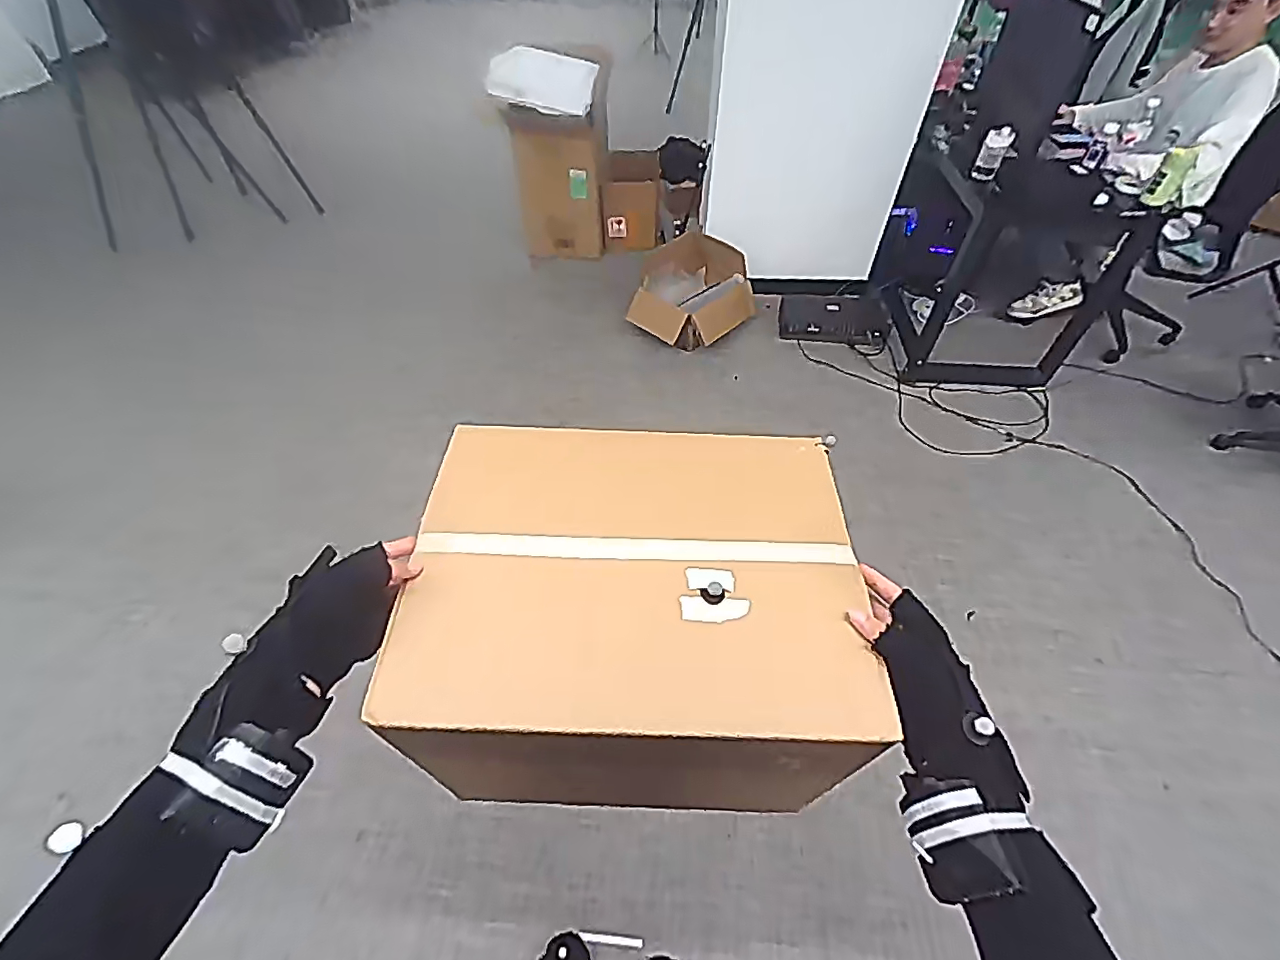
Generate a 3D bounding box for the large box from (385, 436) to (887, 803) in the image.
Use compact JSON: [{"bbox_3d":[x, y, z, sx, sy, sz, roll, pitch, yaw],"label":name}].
[{"bbox_3d":[-0.007,0.170,0.628,0.408,0.320,0.320,3,50,-1],"label":"large box"}]
